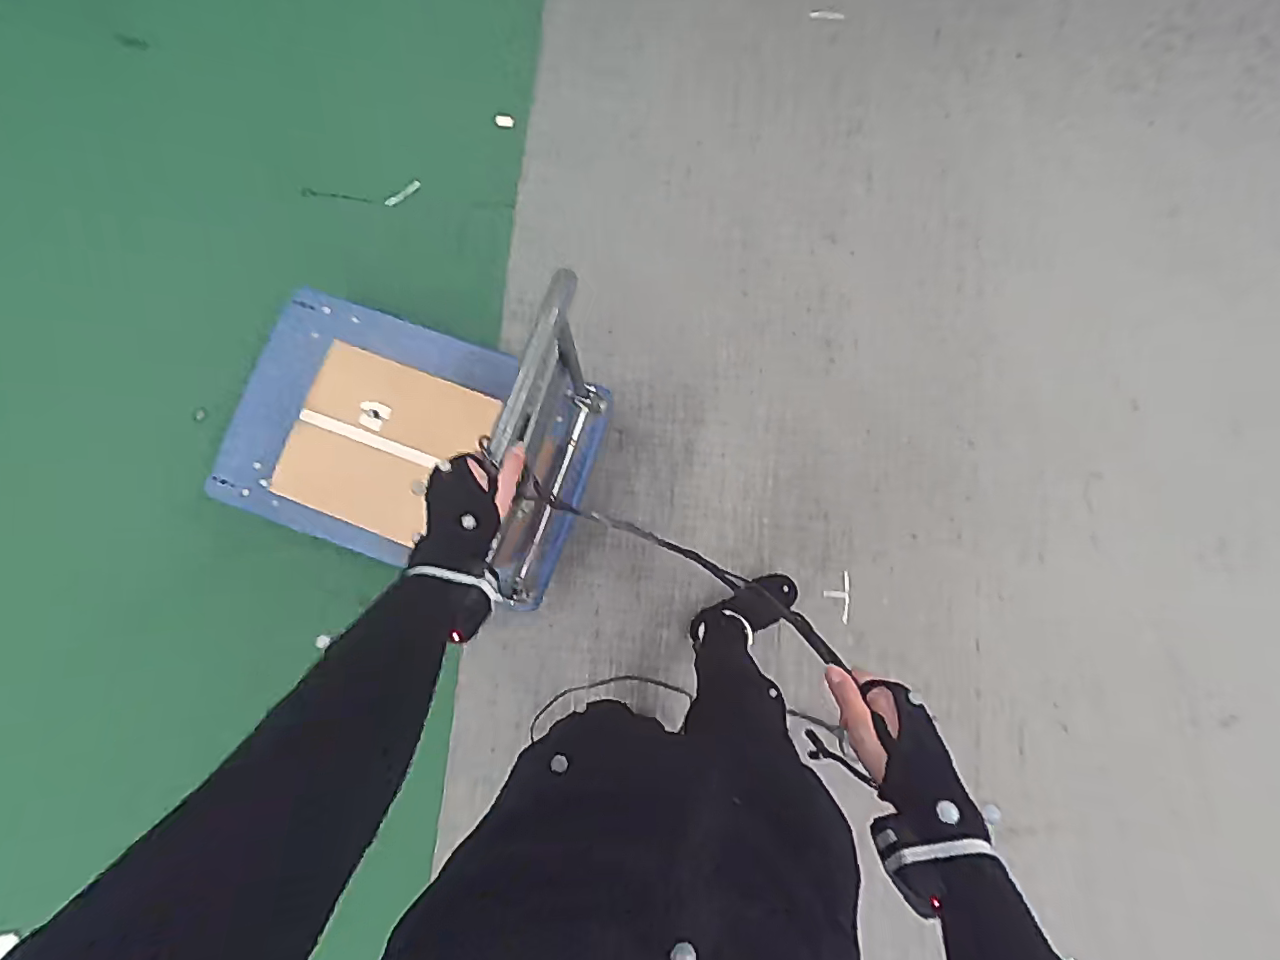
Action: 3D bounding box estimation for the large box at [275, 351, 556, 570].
[{"bbox_3d":[-0.439,-0.025,1.155,0.408,0.320,0.320,21,83,5],"label":"large box"}]
